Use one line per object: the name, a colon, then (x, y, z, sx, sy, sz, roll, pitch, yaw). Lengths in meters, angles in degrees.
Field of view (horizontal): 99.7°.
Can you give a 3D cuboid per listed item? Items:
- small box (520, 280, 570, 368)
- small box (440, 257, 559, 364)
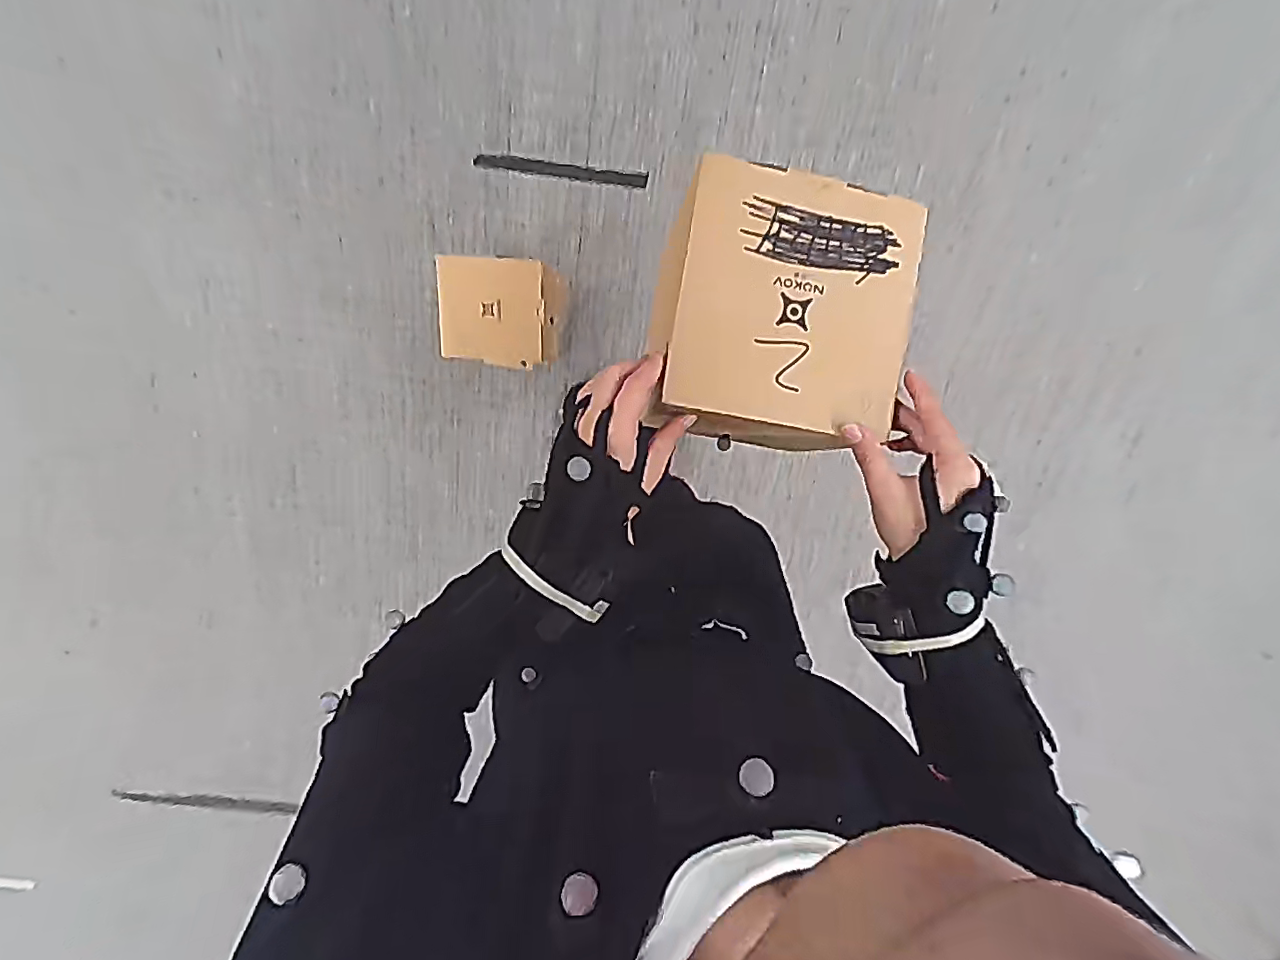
small box: (-0.246, -0.344, 1.143, 0.168, 0.176, 0.179, 9, 106, -4)
small box: (-0.246, -0.304, 0.985, 0.179, 0.176, 0.168, 2, 107, -2)
